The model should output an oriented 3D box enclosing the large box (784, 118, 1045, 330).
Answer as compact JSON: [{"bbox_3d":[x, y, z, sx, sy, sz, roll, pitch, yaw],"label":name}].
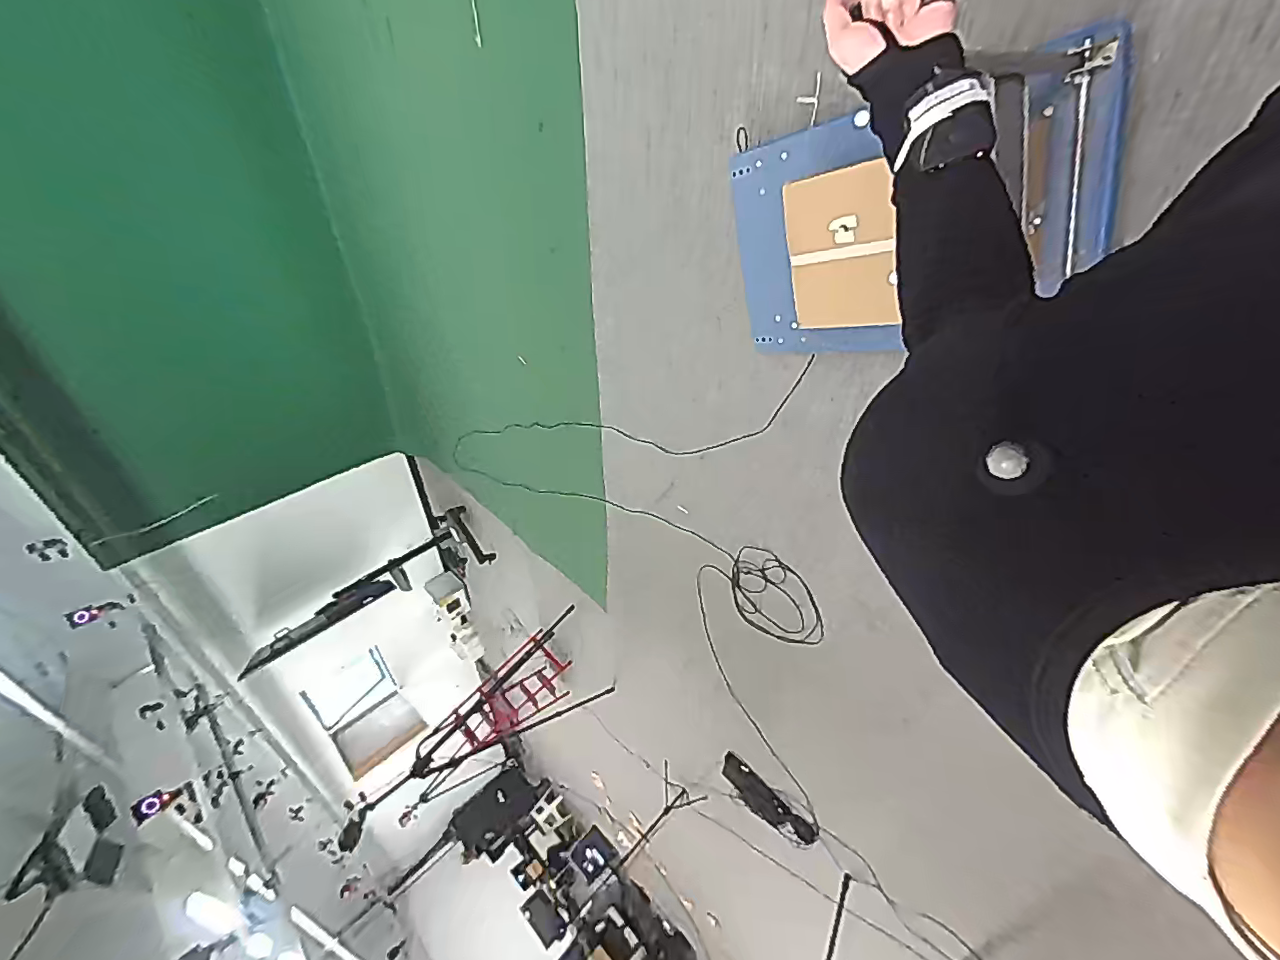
[{"bbox_3d":[0.582,-0.526,1.156,0.408,0.320,0.320,13,125,47],"label":"large box"}]
